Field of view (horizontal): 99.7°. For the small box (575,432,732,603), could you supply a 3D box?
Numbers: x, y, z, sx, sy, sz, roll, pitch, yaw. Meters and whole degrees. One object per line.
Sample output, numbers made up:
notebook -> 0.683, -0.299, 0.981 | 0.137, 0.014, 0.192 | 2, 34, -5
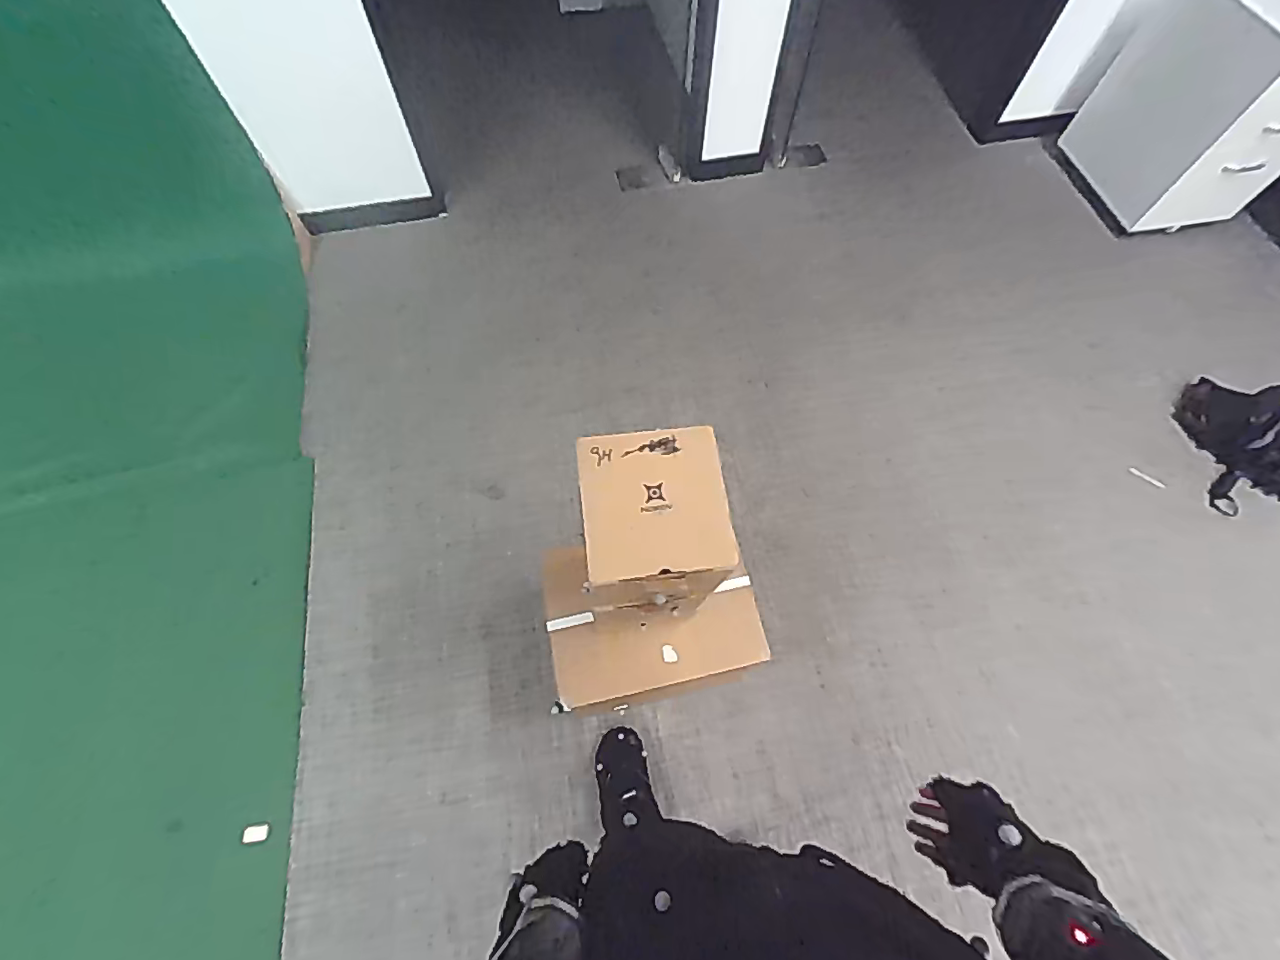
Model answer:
small box -> 0.010, 0.057, 0.690 | 0.168, 0.176, 0.179 | -6, 70, -5

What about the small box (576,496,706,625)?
small box -> -0.003, 0.123, 0.840 | 0.168, 0.176, 0.179 | -8, 68, -6

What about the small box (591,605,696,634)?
small box -> -0.004, 0.183, 0.987 | 0.179, 0.176, 0.168 | -4, 67, -4
